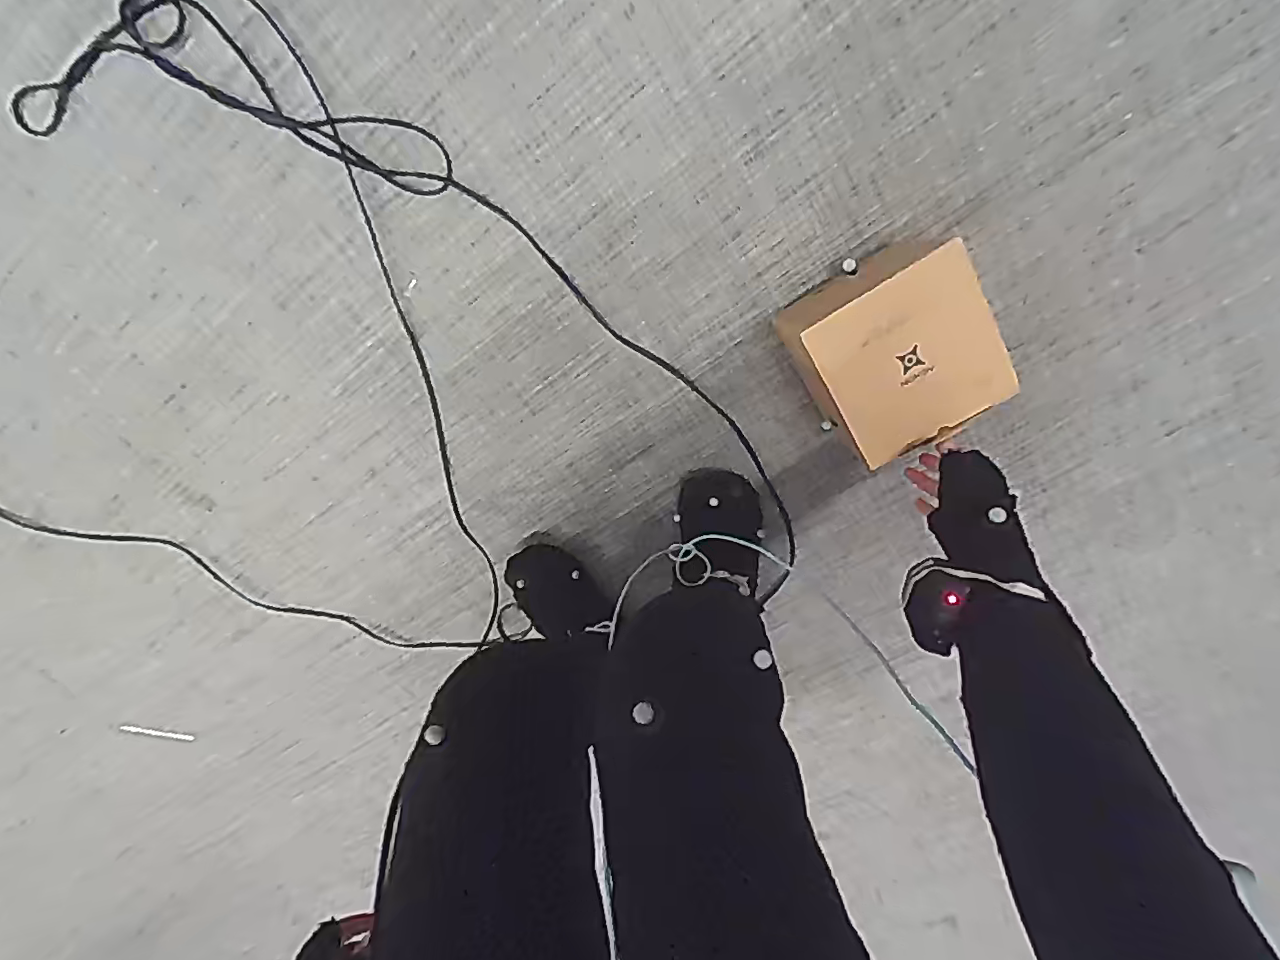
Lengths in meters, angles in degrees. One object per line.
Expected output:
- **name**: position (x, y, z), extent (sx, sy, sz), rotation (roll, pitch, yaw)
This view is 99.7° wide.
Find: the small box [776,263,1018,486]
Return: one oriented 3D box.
- **small box**: position (0.276, -0.128, 0.616), extent (0.168, 0.176, 0.179), rotation (-30, 107, 13)
